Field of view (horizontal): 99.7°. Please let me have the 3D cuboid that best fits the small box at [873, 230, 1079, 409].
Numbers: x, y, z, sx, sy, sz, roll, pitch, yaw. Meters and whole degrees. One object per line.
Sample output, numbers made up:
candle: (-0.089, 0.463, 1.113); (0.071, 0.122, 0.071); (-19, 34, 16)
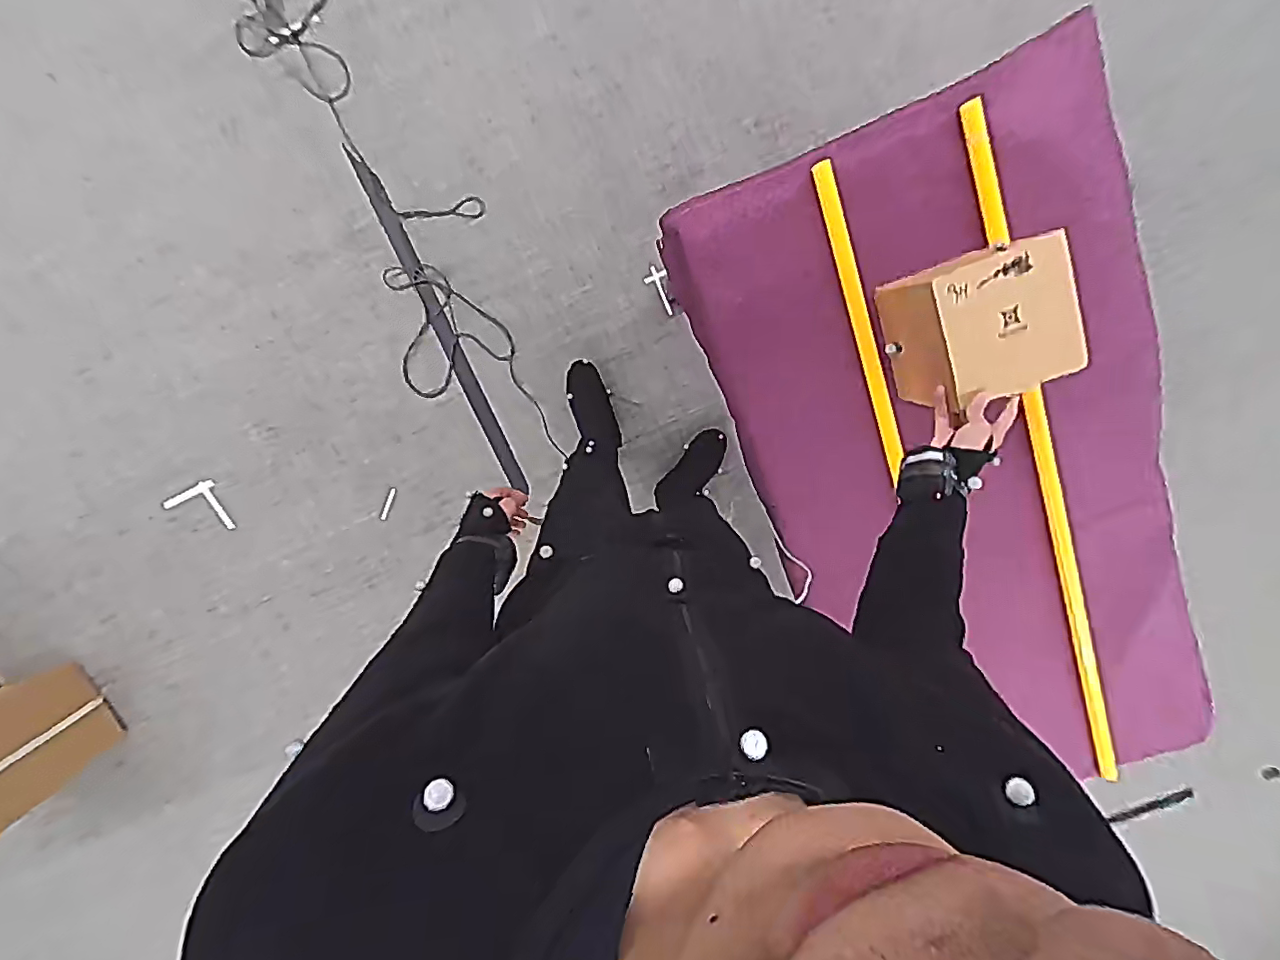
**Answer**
small box: (0.450, -0.217, 0.745); (0.168, 0.176, 0.179); (-20, 105, 4)
